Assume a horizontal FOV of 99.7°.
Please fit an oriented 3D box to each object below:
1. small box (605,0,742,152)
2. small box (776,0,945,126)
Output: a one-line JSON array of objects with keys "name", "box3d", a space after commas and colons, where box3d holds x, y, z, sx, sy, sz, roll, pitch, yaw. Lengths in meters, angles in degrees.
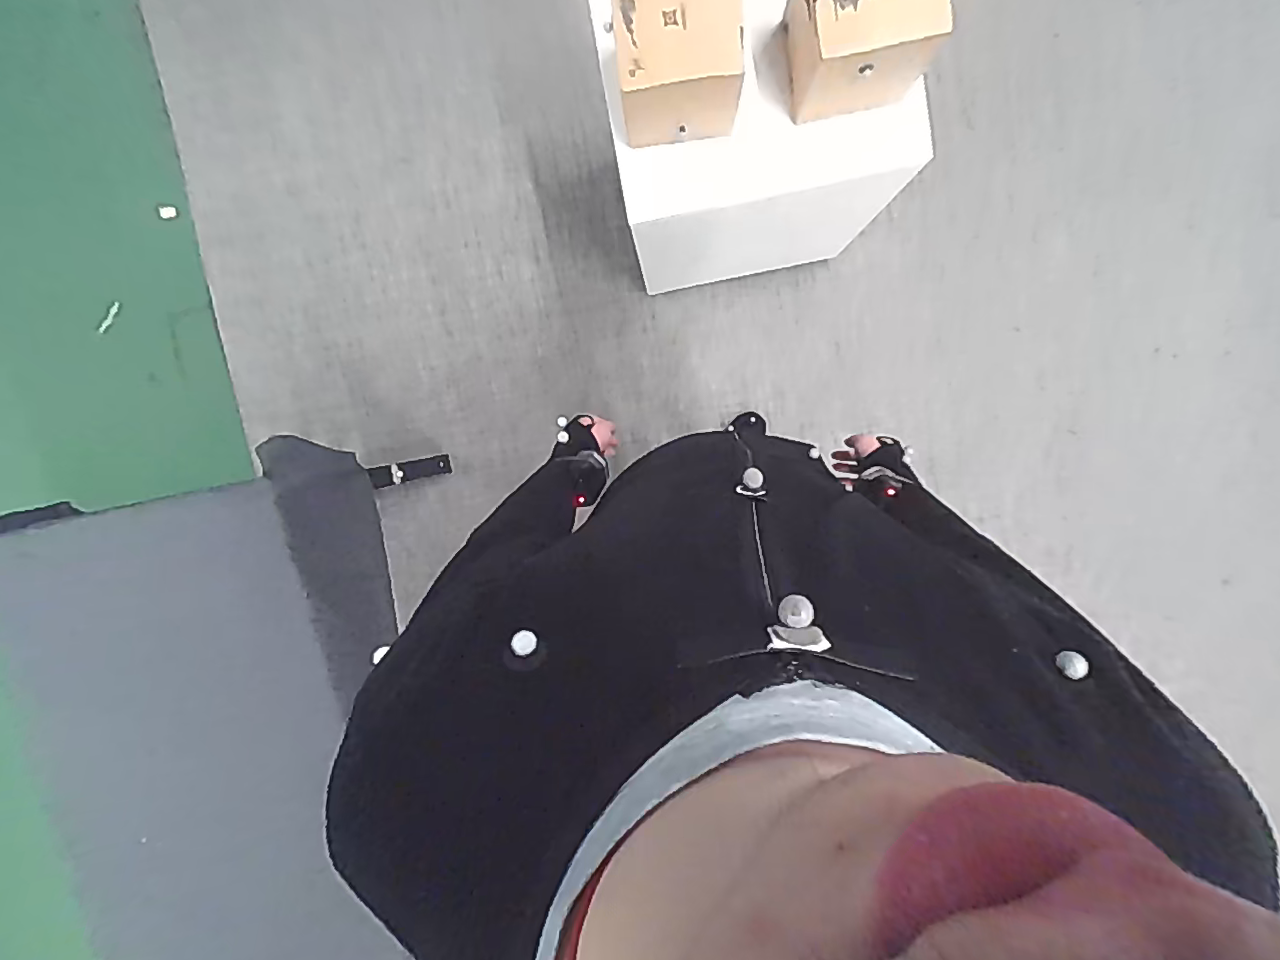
[{"name": "small box", "box3d": [0.043, -0.617, 0.800, 0.179, 0.176, 0.168, -7, 95, 1]}, {"name": "small box", "box3d": [0.306, -0.655, 0.789, 0.179, 0.176, 0.168, -11, 96, 2]}]
